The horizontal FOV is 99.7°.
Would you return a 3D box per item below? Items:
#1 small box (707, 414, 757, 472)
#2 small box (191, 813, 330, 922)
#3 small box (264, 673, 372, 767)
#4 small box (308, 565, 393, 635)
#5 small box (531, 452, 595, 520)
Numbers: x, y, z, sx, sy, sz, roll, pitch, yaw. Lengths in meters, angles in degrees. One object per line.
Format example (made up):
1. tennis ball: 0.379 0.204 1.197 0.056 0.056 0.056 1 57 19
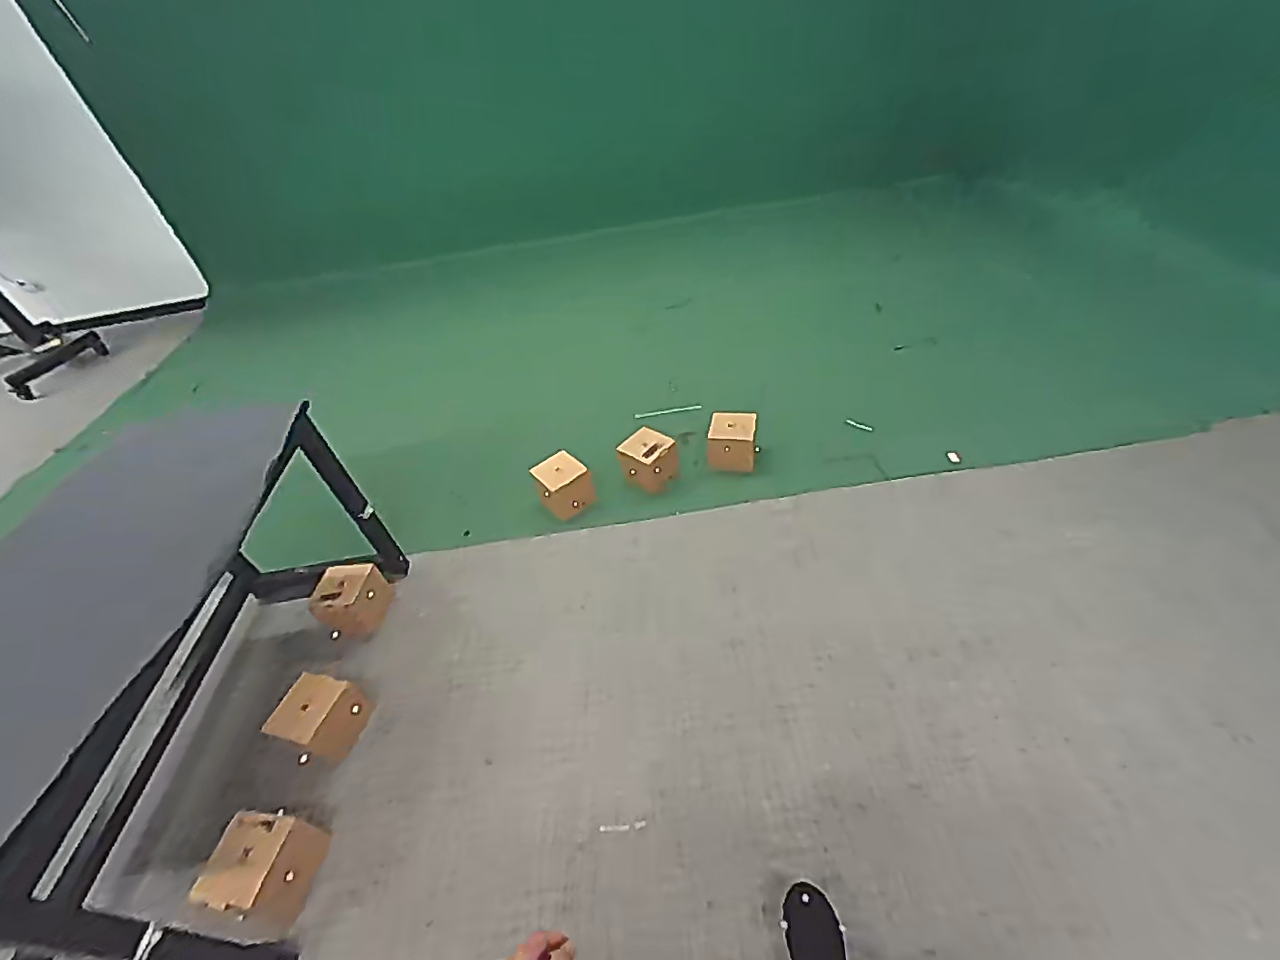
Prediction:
1. small box: 0.369 -0.147 2.153 0.179 0.176 0.168 5 45 15
2. small box: -0.876 0.913 1.271 0.168 0.176 0.179 -1 44 10
3. small box: -0.893 0.677 1.526 0.168 0.176 0.179 4 46 17
4. small box: -0.965 0.410 1.824 0.168 0.176 0.179 -5 42 5
5. small box: -0.298 0.024 2.107 0.168 0.176 0.179 -35 48 -24
